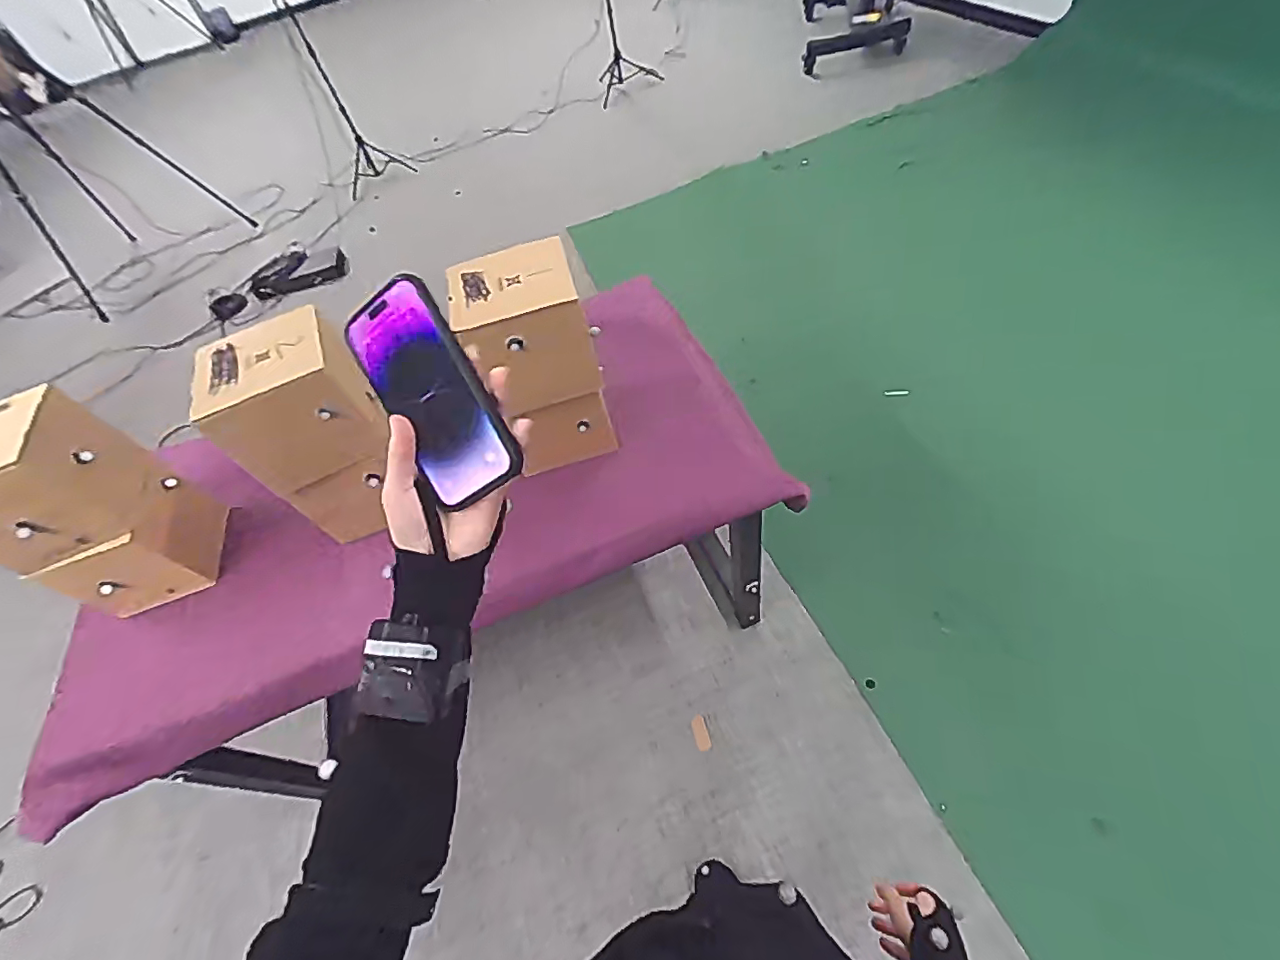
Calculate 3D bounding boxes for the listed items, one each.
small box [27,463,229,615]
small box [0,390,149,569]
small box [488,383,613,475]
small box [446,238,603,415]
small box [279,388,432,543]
[{"bbox_3d":[-0.842,0.109,0.915,0.168,0.176,0.179,-21,53,-3],"label":"small box"},{"bbox_3d":[-0.874,0.008,0.789,0.168,0.176,0.179,-25,54,-7],"label":"small box"},{"bbox_3d":[-0.153,-0.135,0.943,0.179,0.176,0.168,-17,53,1],"label":"small box"},{"bbox_3d":[-0.168,-0.222,0.804,0.179,0.176,0.168,-17,53,-1],"label":"small box"},{"bbox_3d":[-0.474,-0.021,0.927,0.179,0.176,0.168,-22,53,-4],"label":"small box"}]
